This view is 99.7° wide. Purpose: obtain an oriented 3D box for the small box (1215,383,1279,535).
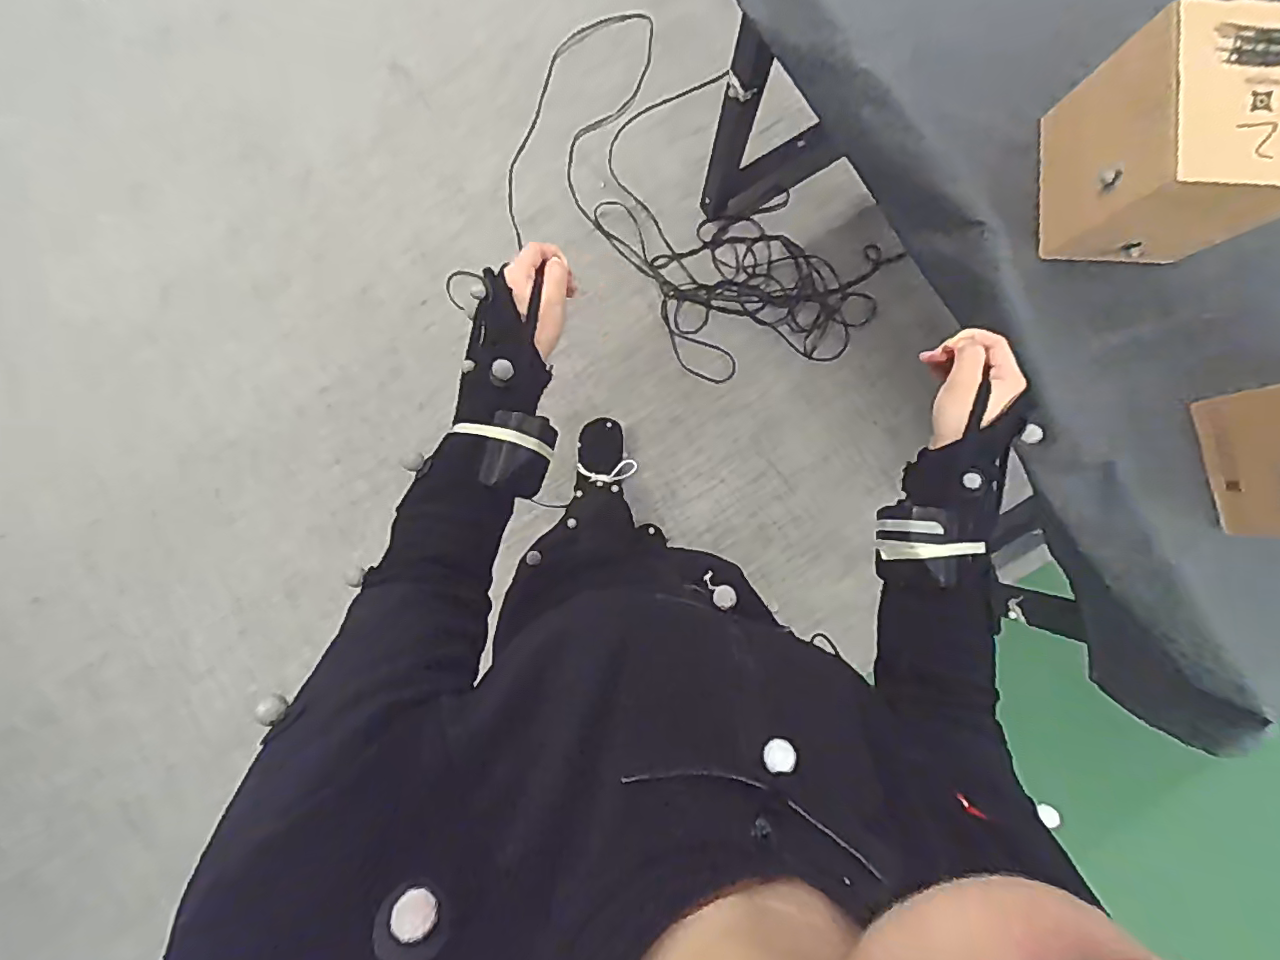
[{"bbox_3d":[0.769,-0.035,0.566,0.179,0.176,0.168,-13,89,-2],"label":"small box"}]
